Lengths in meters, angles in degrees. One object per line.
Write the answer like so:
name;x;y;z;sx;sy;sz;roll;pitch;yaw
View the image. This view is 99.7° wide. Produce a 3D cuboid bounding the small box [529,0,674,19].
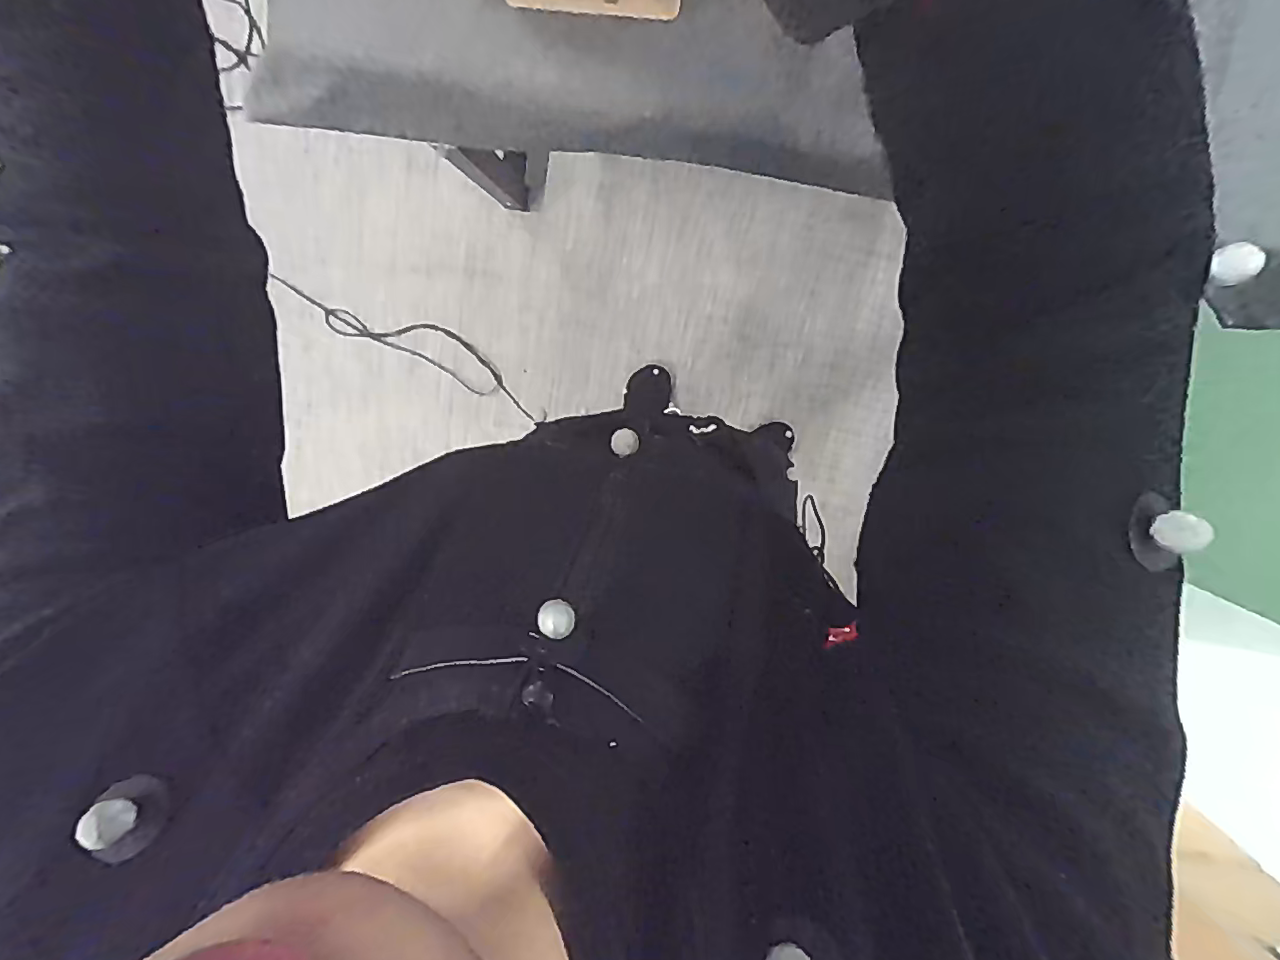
small box;-0.044;-0.512;0.425;0.168;0.176;0.179;6;103;1
